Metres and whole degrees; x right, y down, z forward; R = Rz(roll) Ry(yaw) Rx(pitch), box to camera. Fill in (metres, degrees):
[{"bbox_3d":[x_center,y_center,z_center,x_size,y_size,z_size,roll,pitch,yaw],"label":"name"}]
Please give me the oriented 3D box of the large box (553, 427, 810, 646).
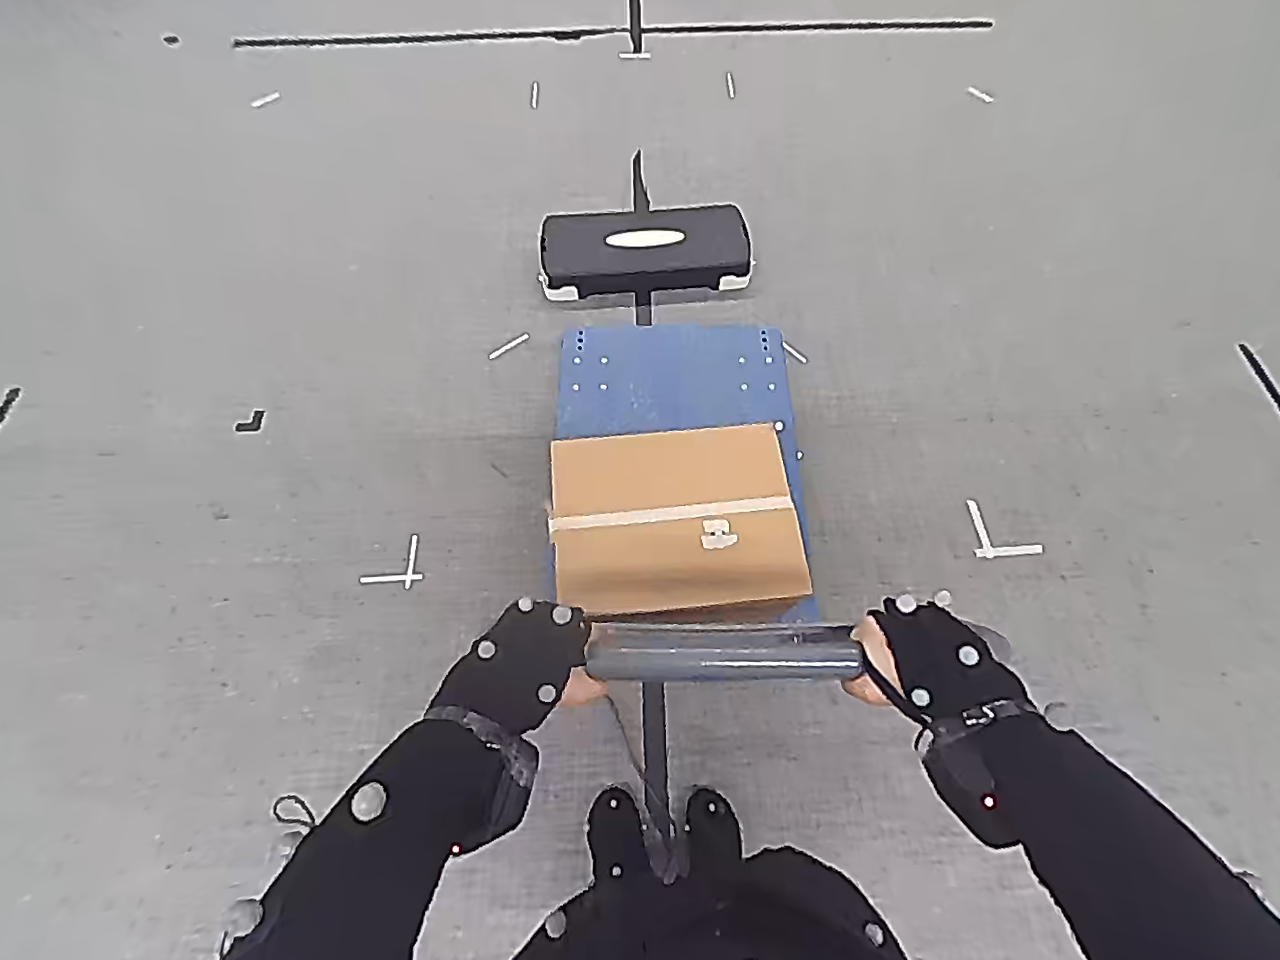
[{"bbox_3d":[0.055,0.123,1.045,0.408,0.320,0.320,-5,67,-4],"label":"large box"}]
